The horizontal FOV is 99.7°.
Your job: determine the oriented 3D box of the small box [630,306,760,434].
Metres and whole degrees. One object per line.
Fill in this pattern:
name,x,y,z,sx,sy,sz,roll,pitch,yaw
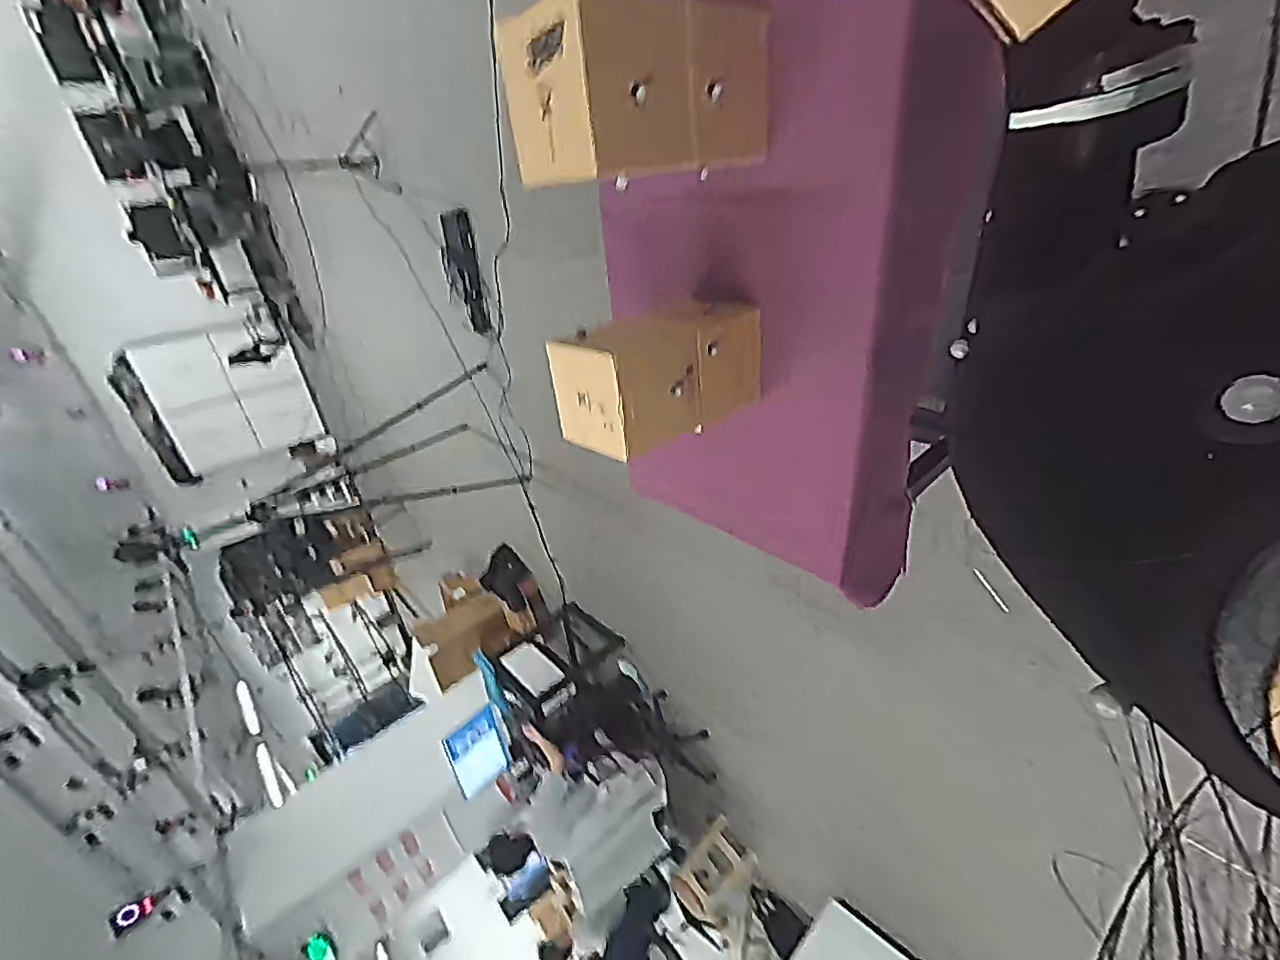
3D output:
small box,0.103,-0.206,0.981,0.168,0.176,0.179,23,129,44

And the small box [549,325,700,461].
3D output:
small box,-0.022,-0.152,0.888,0.179,0.176,0.168,23,129,44

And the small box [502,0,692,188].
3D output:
small box,-0.048,-0.484,0.697,0.168,0.176,0.179,24,131,42
